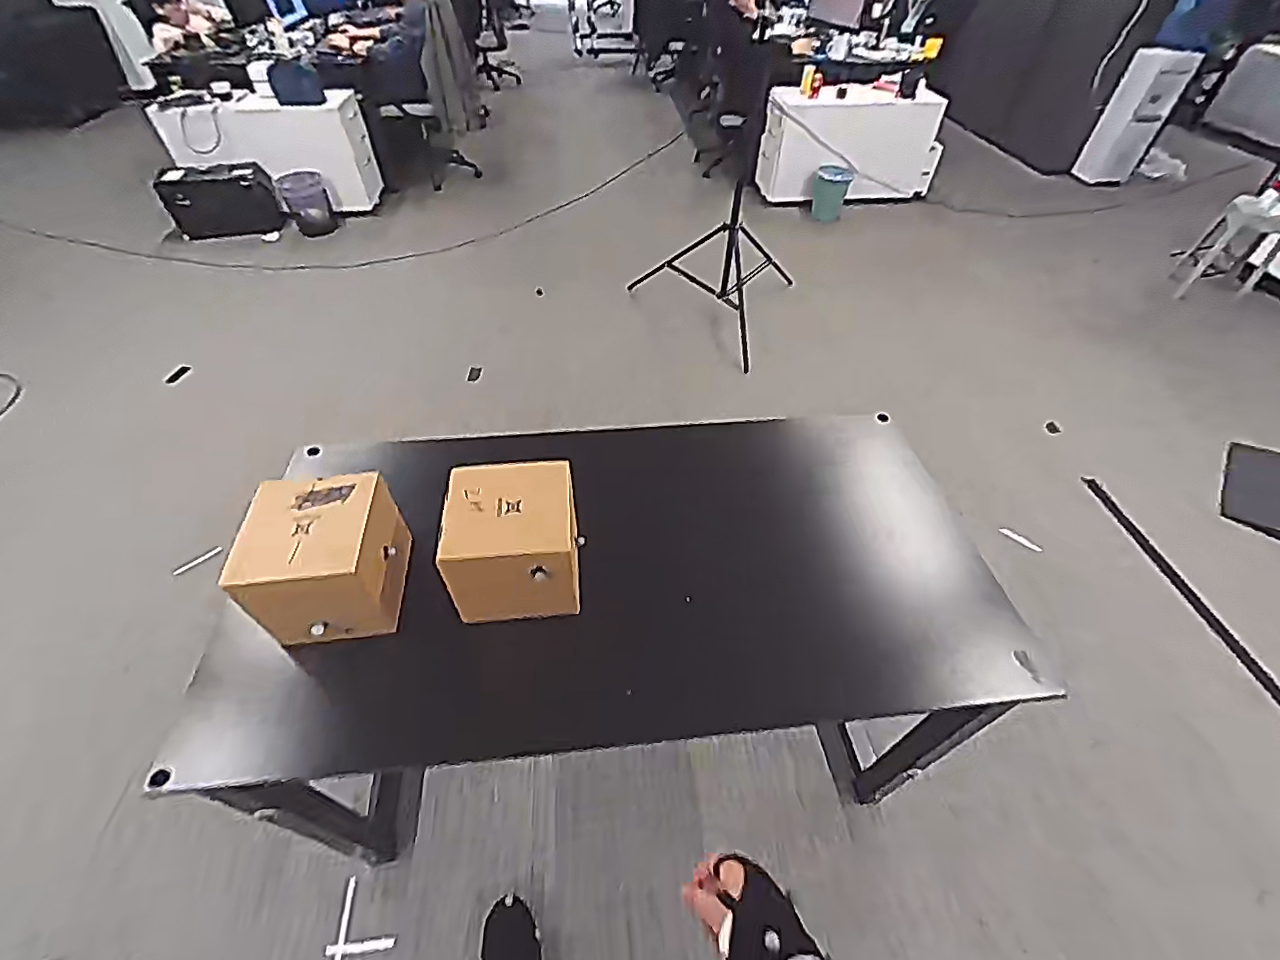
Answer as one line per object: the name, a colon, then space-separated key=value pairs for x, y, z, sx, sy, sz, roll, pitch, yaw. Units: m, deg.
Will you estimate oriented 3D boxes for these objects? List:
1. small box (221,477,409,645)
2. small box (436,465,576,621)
small box: x=-0.453 y=0.118 z=0.792 sx=0.168 sy=0.176 sz=0.179 roll=-5 pitch=49 yaw=-6
small box: x=-0.188 y=0.097 z=0.816 sx=0.179 sy=0.176 sz=0.168 roll=-4 pitch=48 yaw=-4
